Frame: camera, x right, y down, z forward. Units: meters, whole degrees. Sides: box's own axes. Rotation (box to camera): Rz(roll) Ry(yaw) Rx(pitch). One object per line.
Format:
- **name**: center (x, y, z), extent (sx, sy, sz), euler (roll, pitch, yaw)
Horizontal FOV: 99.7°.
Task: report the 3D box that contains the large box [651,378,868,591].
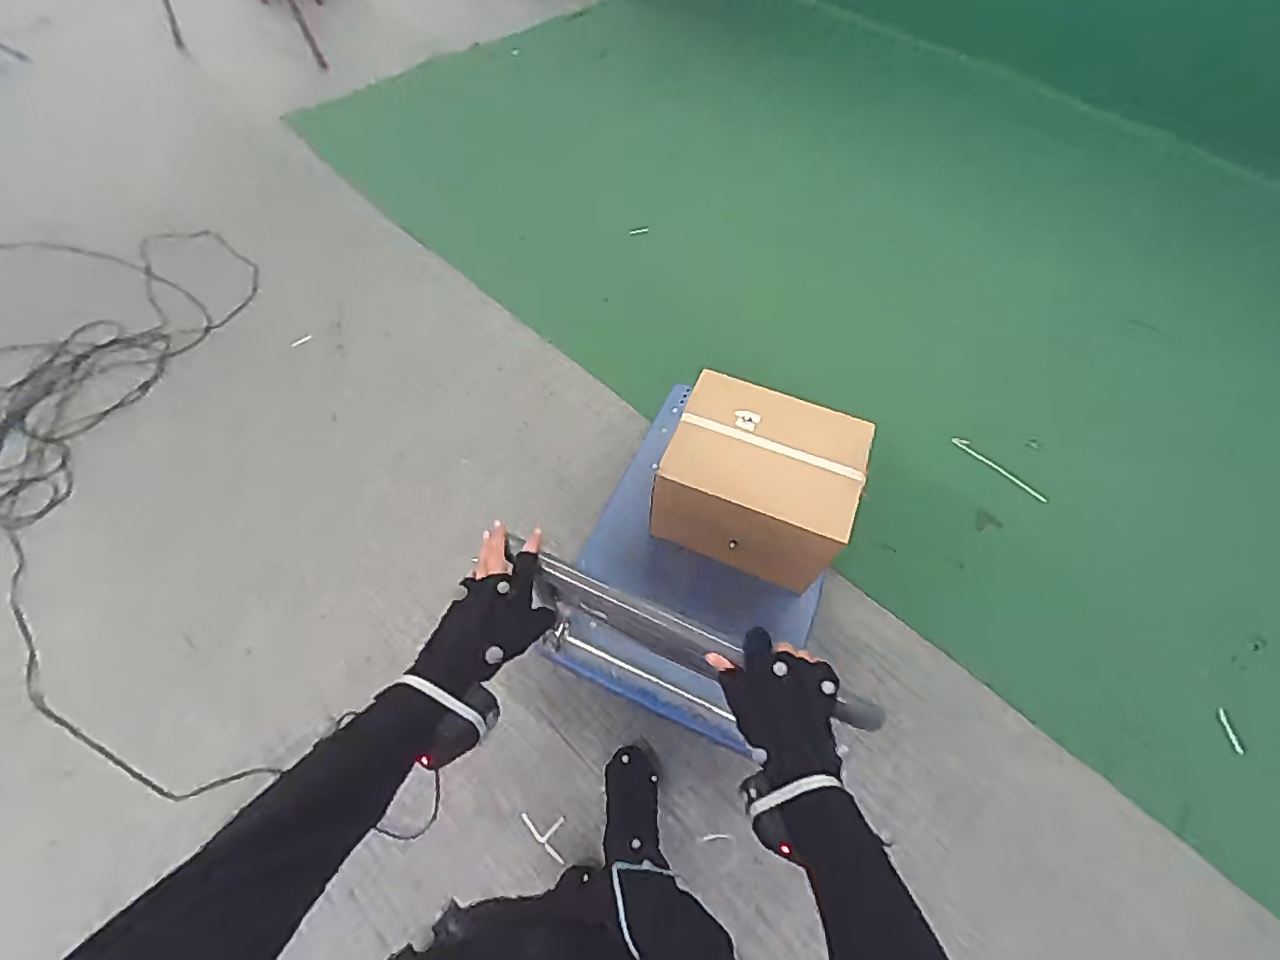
- **large box**: center (0.268, 0.019, 1.290), extent (0.408, 0.320, 0.320), euler (20, 60, 10)
